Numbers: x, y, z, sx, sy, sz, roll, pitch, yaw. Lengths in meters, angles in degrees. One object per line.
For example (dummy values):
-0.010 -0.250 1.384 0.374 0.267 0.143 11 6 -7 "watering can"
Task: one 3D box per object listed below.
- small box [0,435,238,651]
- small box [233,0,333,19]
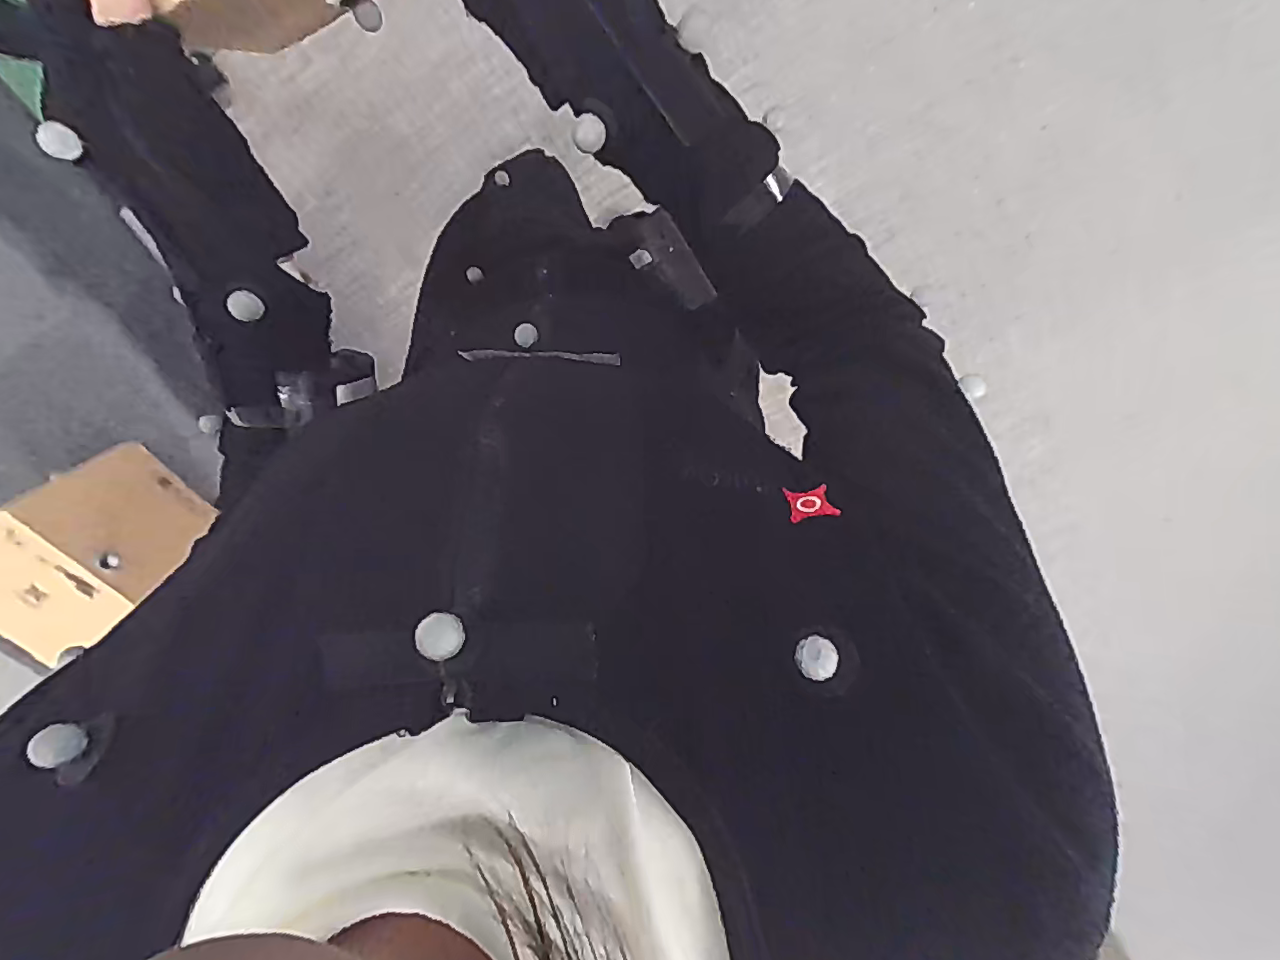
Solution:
-0.666 0.074 0.677 0.179 0.176 0.168 -27 116 16 "small box"
-0.185 -0.342 0.230 0.168 0.176 0.179 -22 126 9 "small box"
